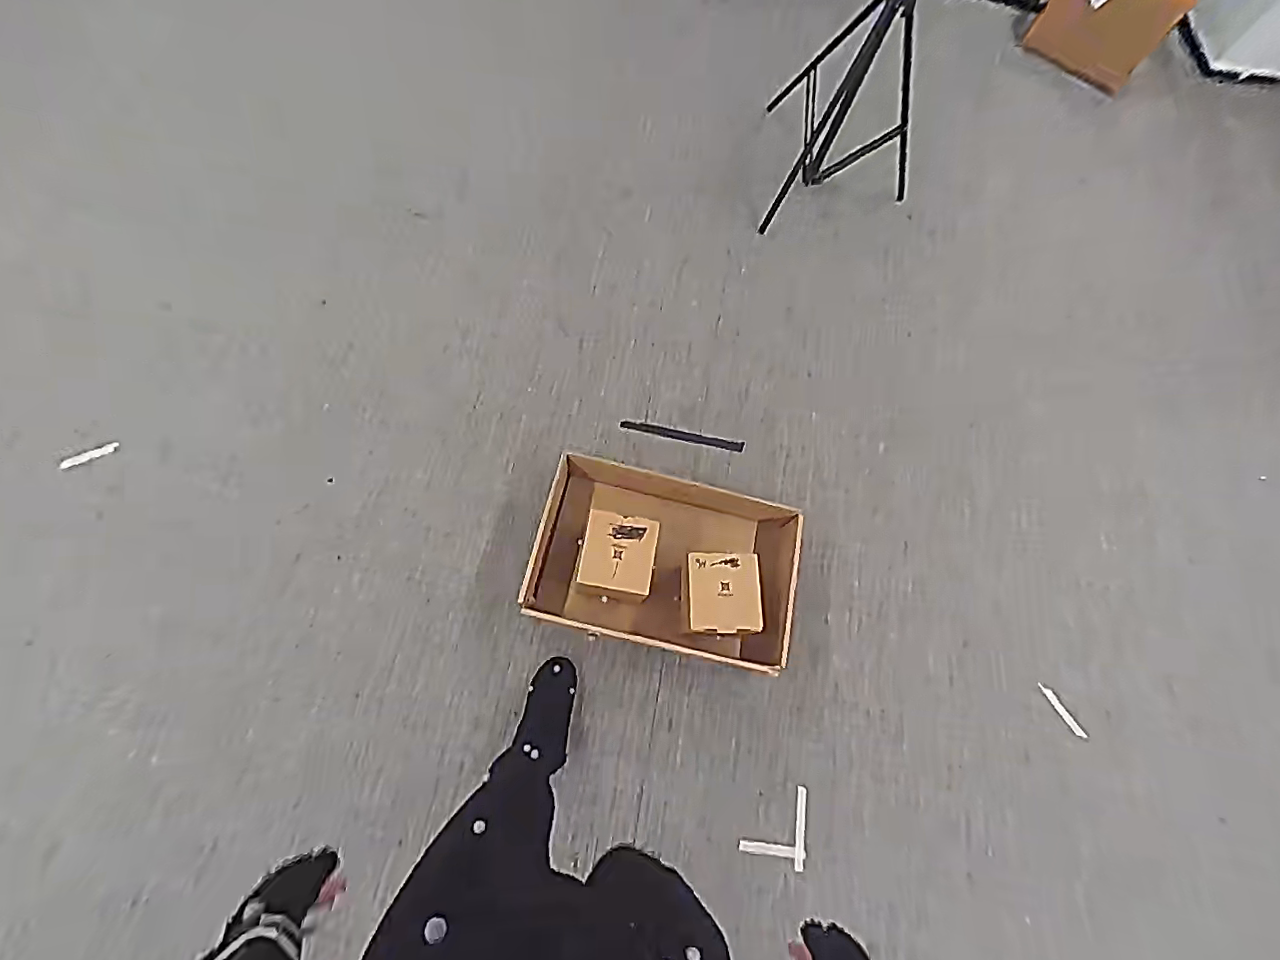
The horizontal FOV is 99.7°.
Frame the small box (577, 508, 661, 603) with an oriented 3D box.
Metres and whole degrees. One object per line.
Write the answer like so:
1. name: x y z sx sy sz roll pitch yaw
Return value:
1. small box: -0.056 0.187 1.295 0.168 0.176 0.179 12 70 -4
